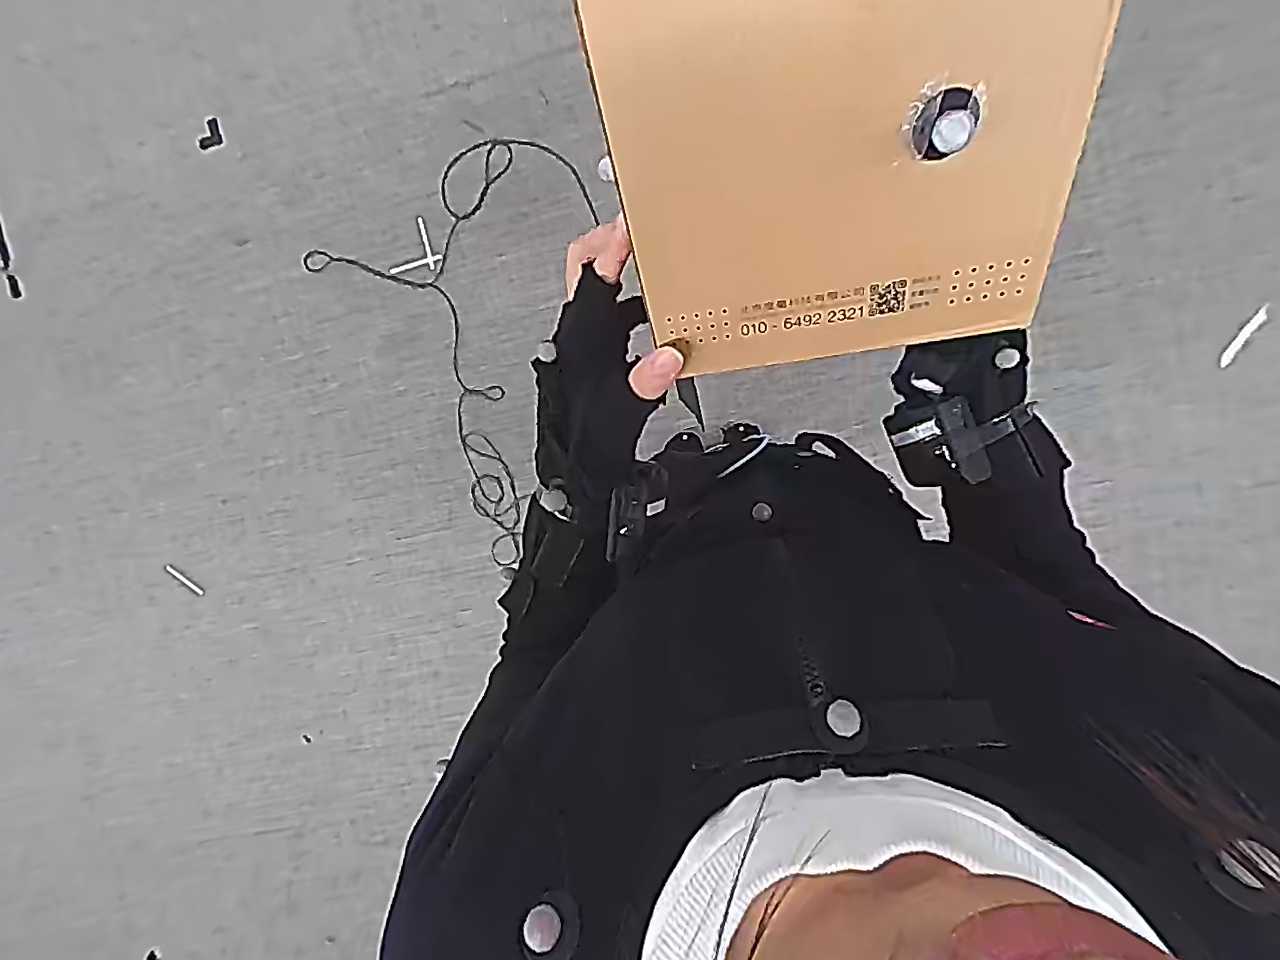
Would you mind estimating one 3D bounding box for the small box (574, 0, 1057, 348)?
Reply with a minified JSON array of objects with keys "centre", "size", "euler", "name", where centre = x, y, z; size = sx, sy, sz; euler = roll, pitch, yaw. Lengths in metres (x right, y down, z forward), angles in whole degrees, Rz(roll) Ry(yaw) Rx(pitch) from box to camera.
[{"centre":[0.082,-0.180,0.278],"size":[0.168,0.179,0.176],"euler":[-5,133,13],"name":"small box"}]
